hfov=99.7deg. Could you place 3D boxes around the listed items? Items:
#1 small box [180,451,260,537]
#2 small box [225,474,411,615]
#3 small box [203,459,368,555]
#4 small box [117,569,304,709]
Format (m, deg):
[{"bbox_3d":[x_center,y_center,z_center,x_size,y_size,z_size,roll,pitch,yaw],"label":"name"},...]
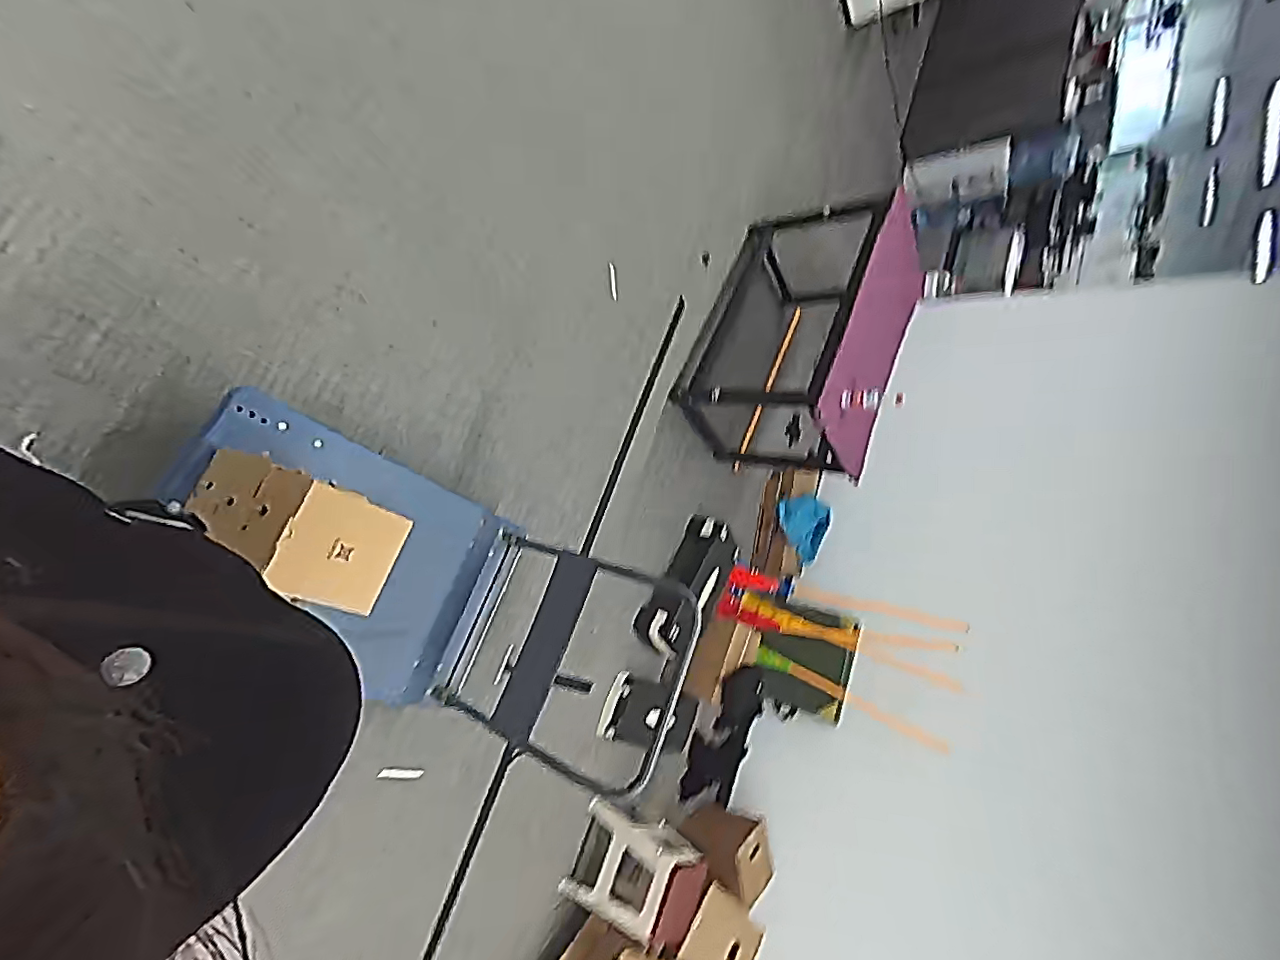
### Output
[{"bbox_3d":[-0.770,0.051,1.084,0.179,0.176,0.168,37,69,-48],"label":"small box"},{"bbox_3d":[-0.520,0.099,0.877,0.179,0.176,0.168,37,68,-47],"label":"small box"},{"bbox_3d":[-0.643,0.069,0.980,0.179,0.176,0.168,34,71,-47],"label":"small box"},{"bbox_3d":[-0.726,0.264,0.917,0.179,0.176,0.168,41,65,-46],"label":"small box"}]
